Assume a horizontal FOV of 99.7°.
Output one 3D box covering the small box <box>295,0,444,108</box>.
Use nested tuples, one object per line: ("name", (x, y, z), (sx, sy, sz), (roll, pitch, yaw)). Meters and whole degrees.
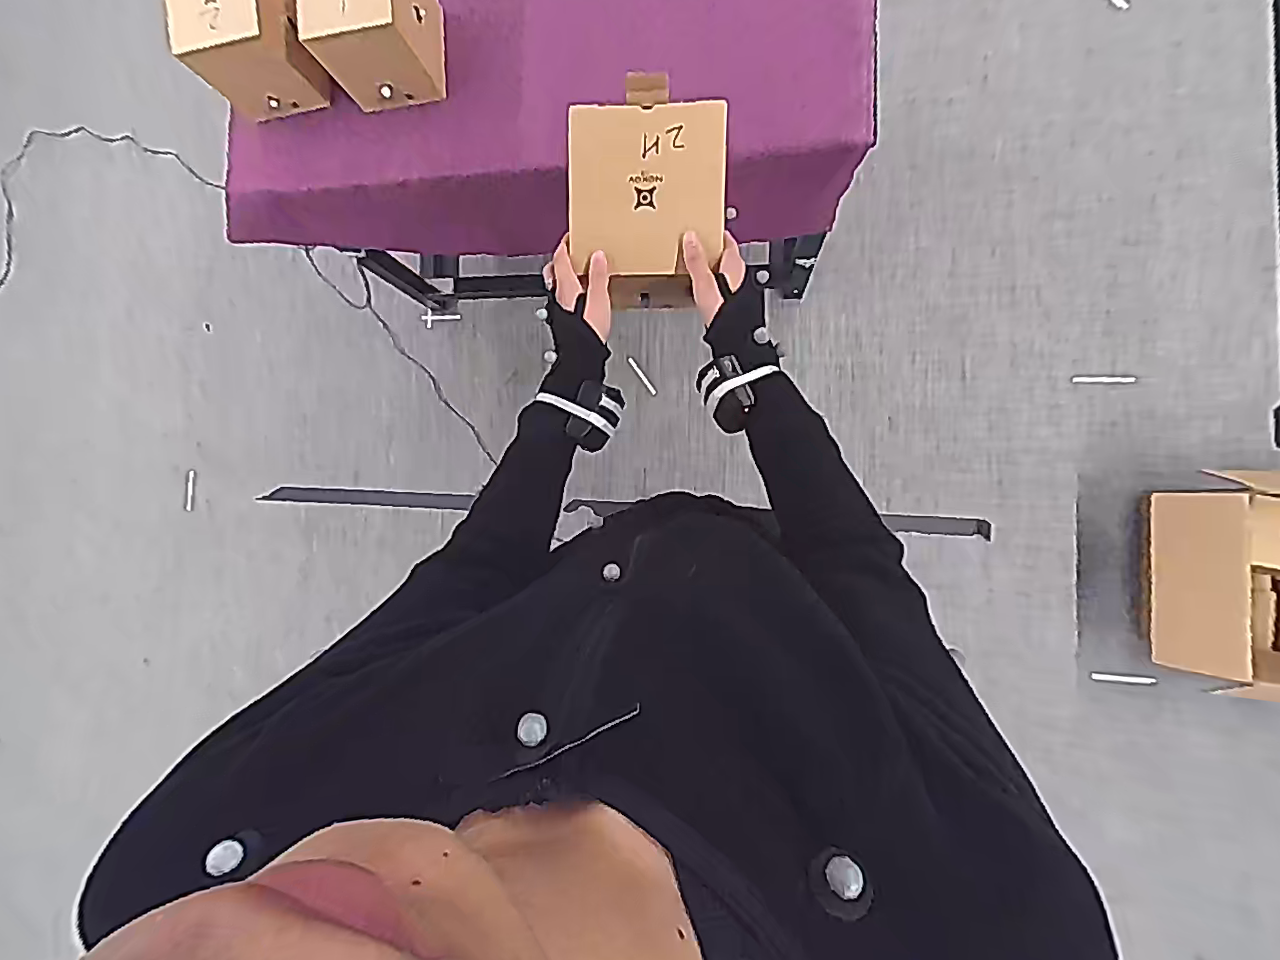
("small box", (-0.449, -0.782, 0.918), (0.168, 0.176, 0.179), (-3, 89, 9))

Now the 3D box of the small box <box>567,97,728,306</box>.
("small box", (0.013, -0.307, 0.635), (0.168, 0.176, 0.179), (1, 96, 4))
